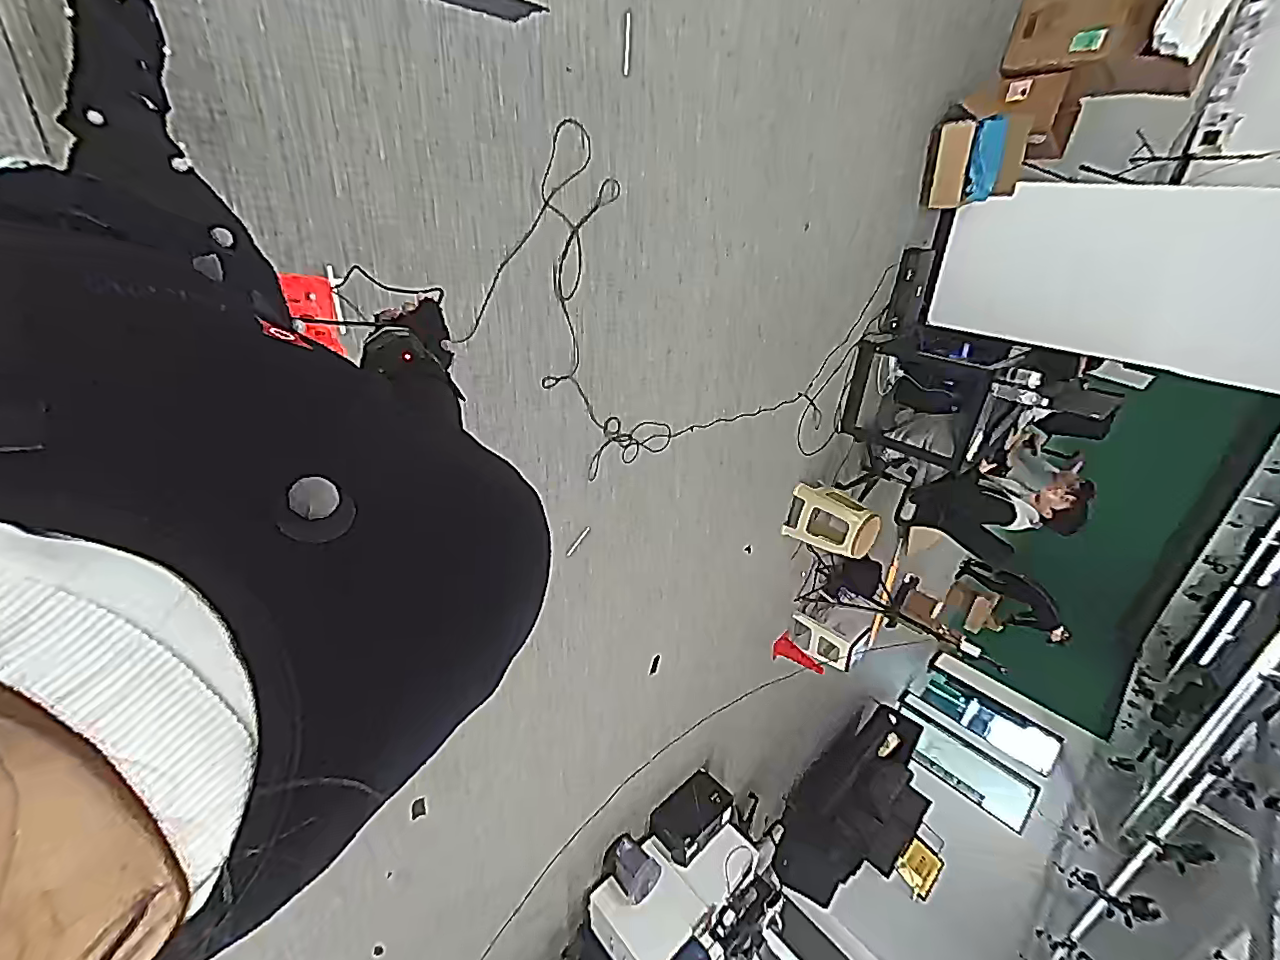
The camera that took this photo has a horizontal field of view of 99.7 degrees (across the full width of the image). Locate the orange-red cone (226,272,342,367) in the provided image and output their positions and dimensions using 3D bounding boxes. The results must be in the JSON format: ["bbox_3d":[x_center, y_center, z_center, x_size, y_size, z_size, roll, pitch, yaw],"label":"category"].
[{"bbox_3d":[-0.675,-0.288,1.086,0.199,0.360,0.198,-11,119,-42],"label":"orange-red cone"}]
